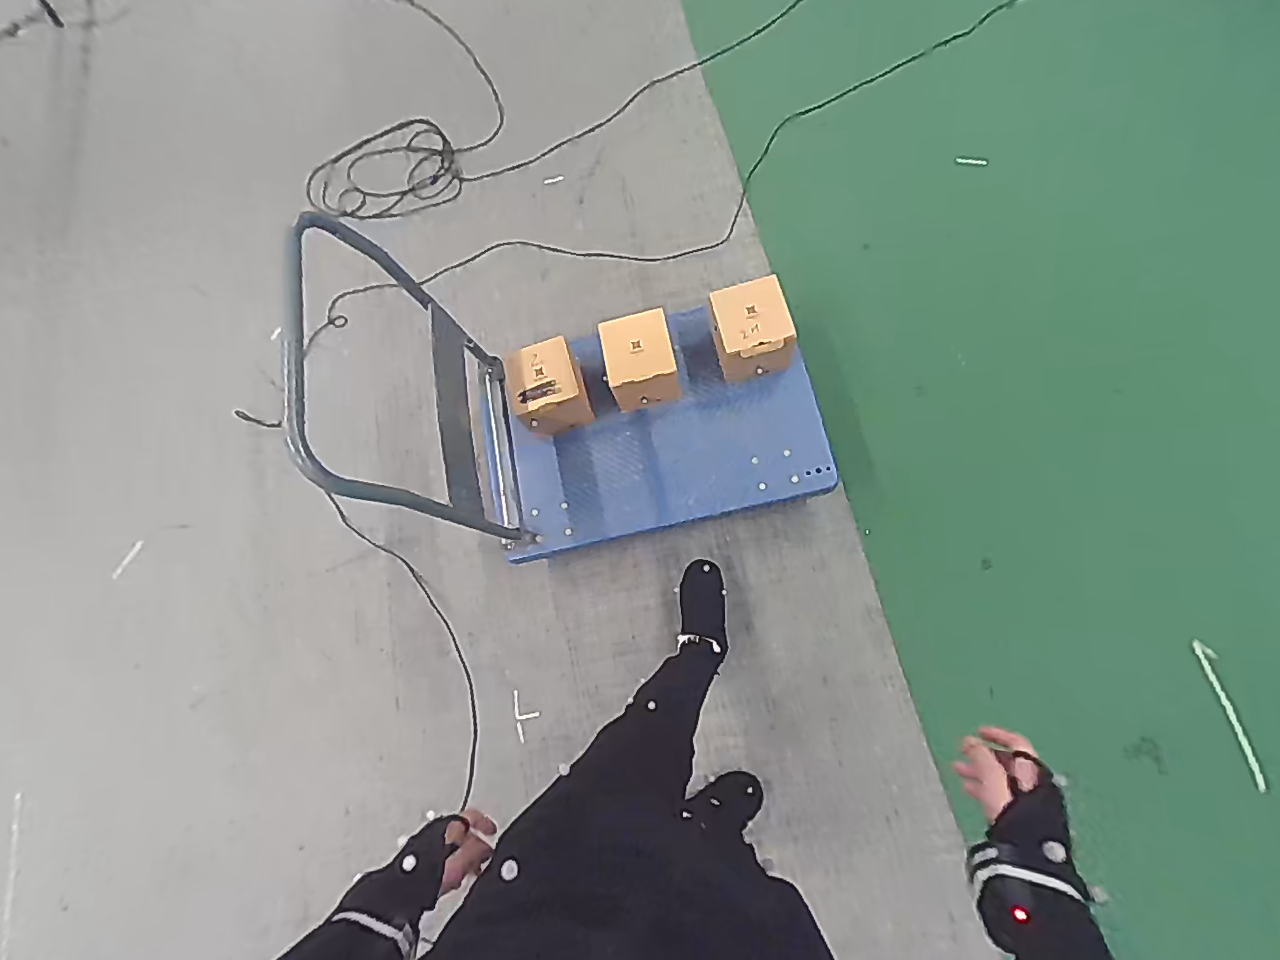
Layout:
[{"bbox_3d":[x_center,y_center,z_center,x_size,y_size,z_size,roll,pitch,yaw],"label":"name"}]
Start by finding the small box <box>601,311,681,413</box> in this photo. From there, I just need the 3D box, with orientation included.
[{"bbox_3d":[0.007,-0.293,1.369,0.168,0.176,0.179,-12,75,5],"label":"small box"}]

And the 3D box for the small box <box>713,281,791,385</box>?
[{"bbox_3d":[0.273,-0.358,1.341,0.168,0.176,0.179,-8,75,9],"label":"small box"}]
